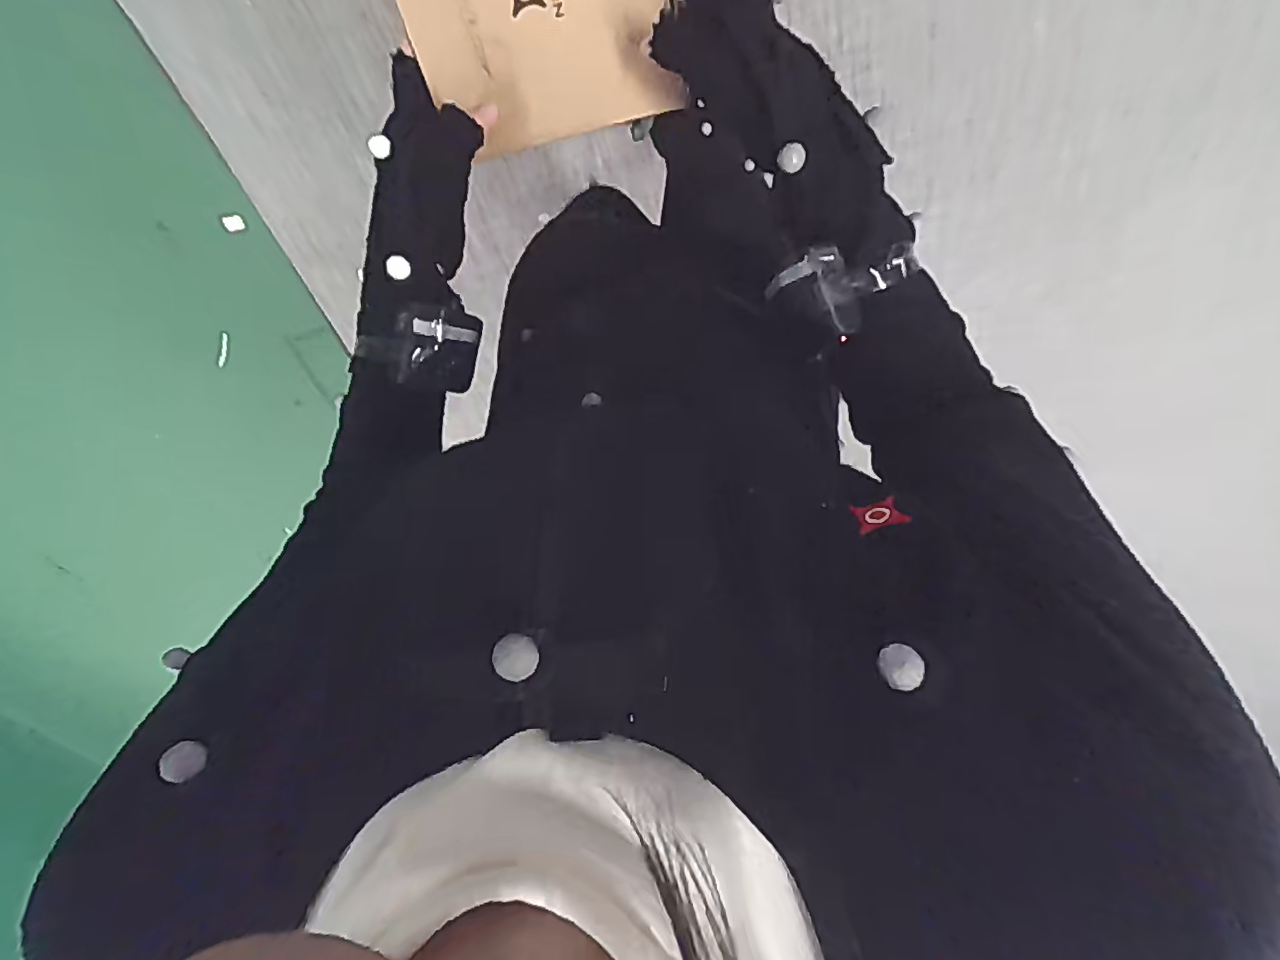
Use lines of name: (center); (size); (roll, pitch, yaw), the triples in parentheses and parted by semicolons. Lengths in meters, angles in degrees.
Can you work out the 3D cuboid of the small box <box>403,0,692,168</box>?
small box: (-0.060, -0.358, 0.410); (0.179, 0.176, 0.168); (-9, 123, 13)
